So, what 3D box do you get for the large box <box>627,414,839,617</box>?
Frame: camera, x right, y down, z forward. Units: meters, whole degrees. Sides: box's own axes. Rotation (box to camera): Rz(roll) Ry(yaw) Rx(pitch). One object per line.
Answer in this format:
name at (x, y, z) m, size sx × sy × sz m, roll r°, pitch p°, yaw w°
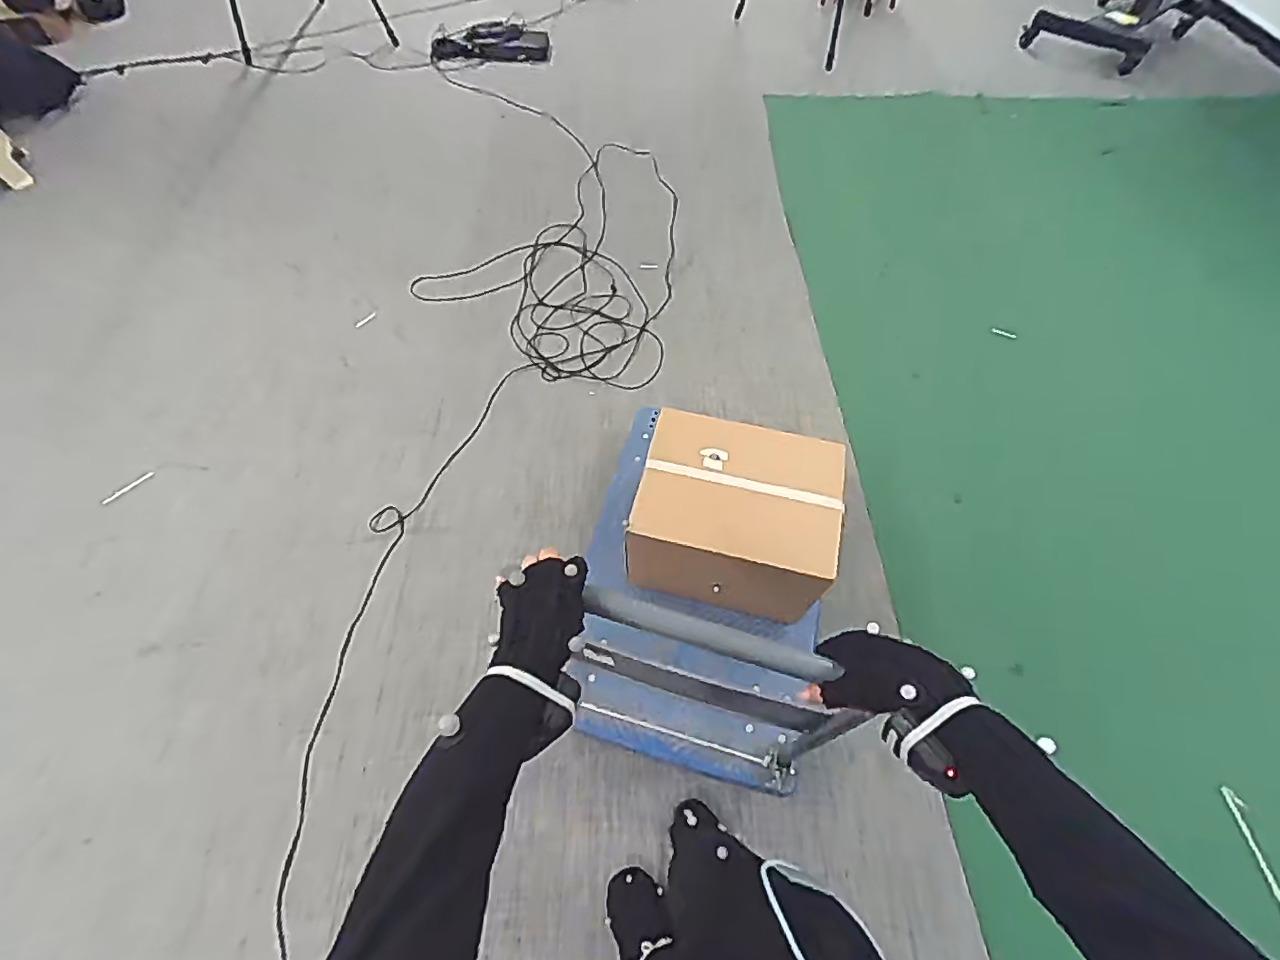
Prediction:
large box at (0.205, 0.091, 1.239) m, size 0.408 × 0.320 × 0.320 m, roll 12°, pitch 60°, yaw 7°
